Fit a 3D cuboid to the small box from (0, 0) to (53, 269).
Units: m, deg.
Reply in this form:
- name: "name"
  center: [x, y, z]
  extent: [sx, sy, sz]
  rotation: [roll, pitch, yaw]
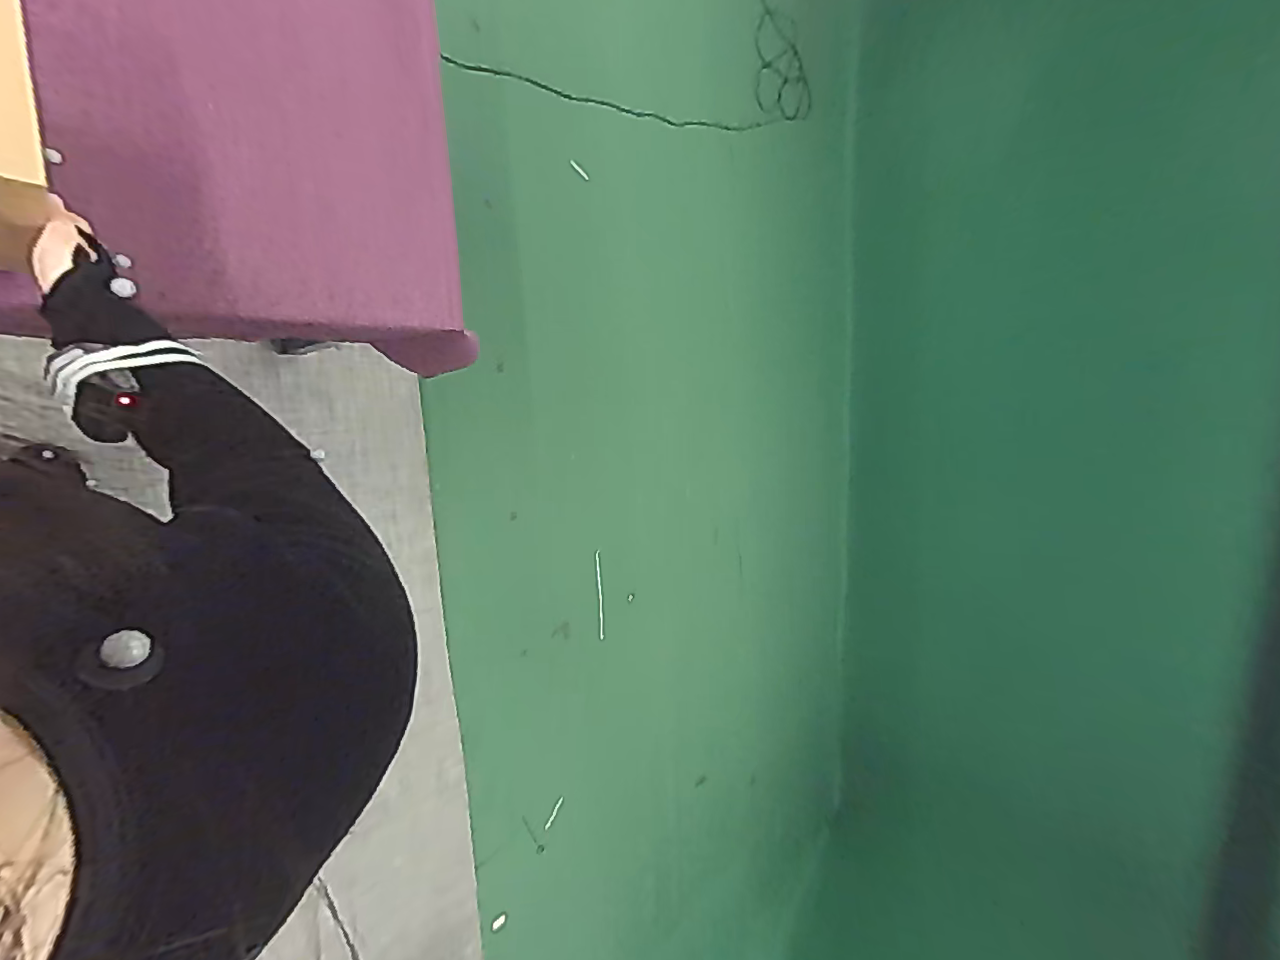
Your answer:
- name: "small box"
  center: [-0.570, -0.276, 0.398]
  extent: [0.179, 0.176, 0.168]
  rotation: [-7, 87, -47]
